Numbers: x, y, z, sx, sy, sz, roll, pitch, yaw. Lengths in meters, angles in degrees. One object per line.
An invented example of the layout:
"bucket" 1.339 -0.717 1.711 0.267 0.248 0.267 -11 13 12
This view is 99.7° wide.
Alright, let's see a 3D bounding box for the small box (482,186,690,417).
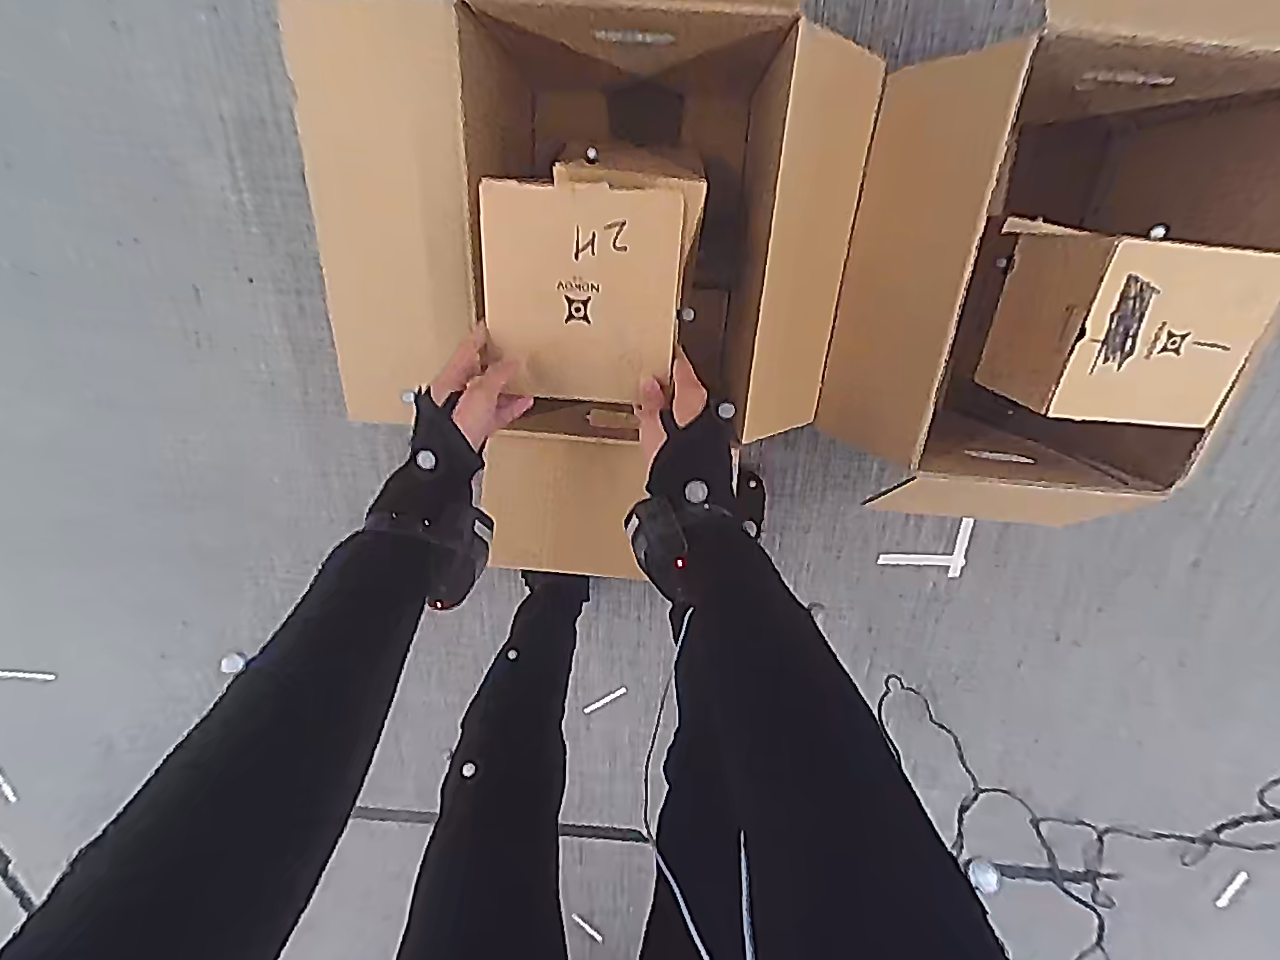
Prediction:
"small box" -0.041 -0.173 0.523 0.168 0.176 0.179 5 112 4
